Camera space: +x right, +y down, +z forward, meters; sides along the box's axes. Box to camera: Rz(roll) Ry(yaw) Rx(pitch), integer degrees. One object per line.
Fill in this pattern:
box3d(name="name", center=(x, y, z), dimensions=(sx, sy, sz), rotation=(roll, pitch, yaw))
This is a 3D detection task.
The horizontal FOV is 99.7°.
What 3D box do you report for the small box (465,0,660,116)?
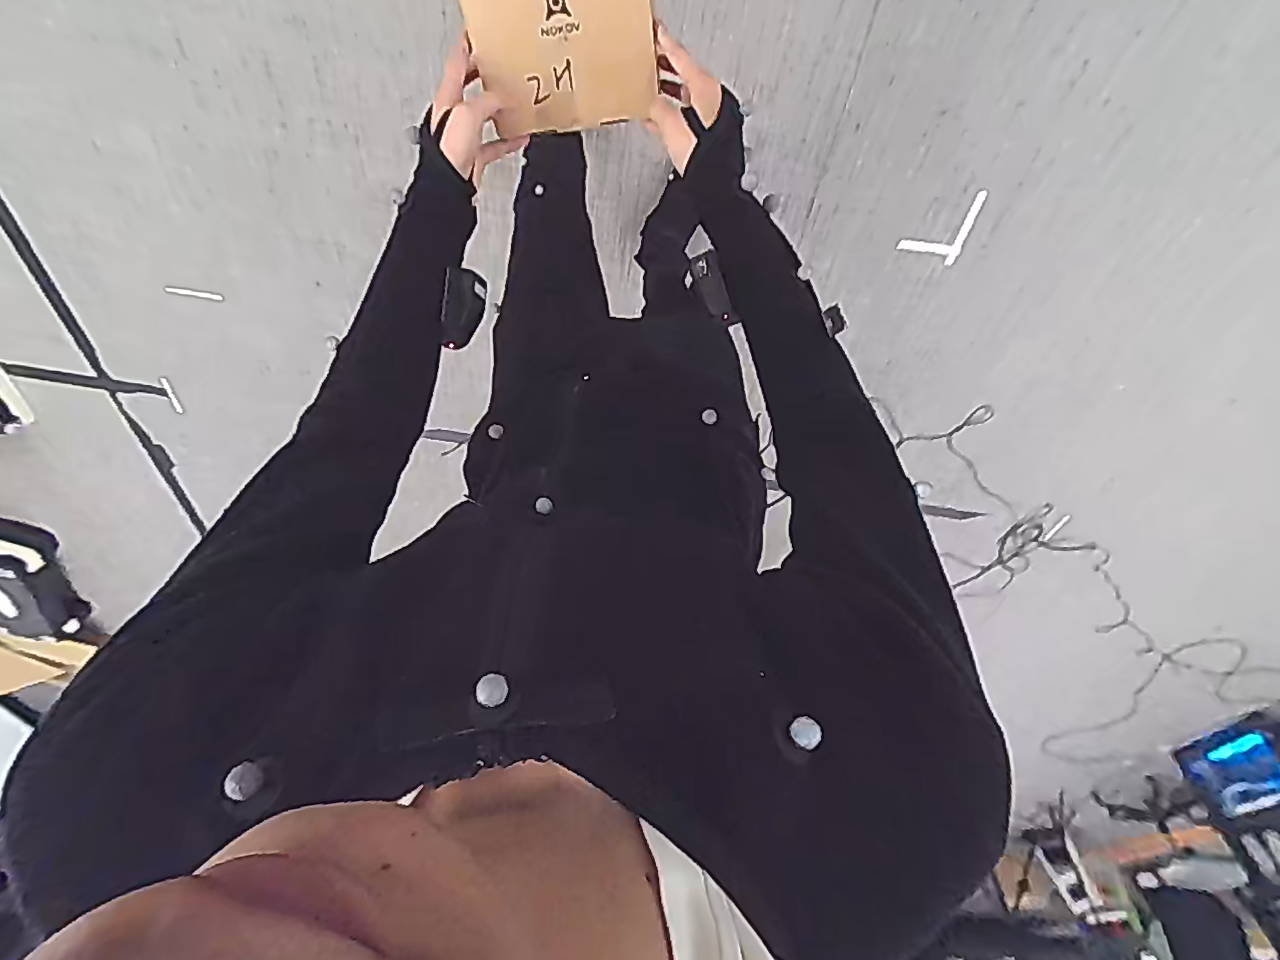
box3d(name="small box", center=(-0.069, -0.477, 0.518), dimensions=(0.168, 0.176, 0.179), rotation=(-3, 135, 7))
